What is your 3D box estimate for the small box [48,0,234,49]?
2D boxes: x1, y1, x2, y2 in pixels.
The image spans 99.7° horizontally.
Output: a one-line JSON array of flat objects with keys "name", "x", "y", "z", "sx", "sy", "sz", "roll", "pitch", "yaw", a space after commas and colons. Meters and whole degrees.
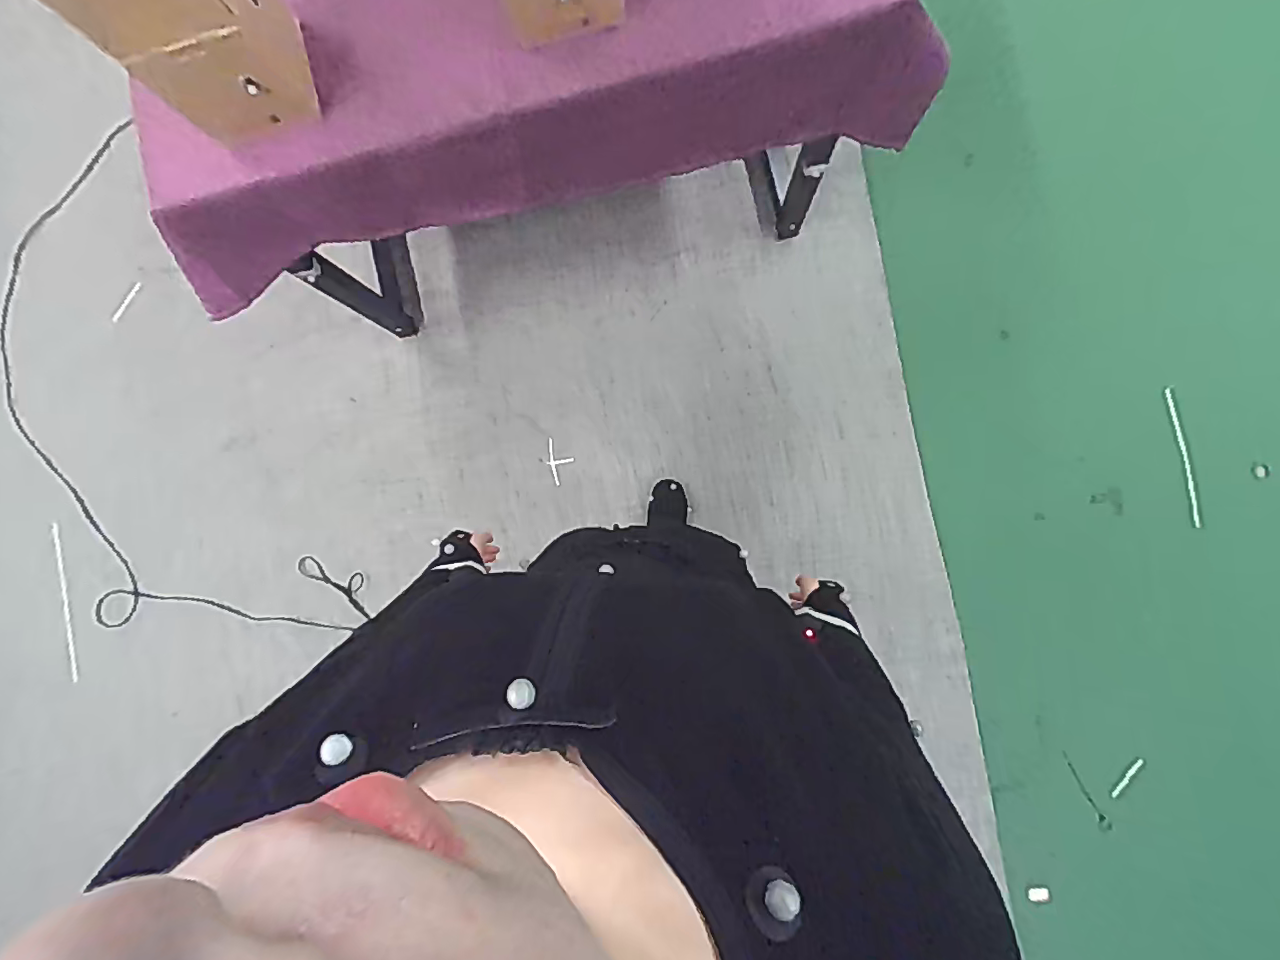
[{"name": "small box", "x": -0.610, "y": -0.635, "z": 0.601, "sx": 0.179, "sy": 0.176, "sz": 0.168, "roll": -16, "pitch": 87, "yaw": 1}]

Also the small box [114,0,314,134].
[{"name": "small box", "x": -0.597, "y": -0.628, "z": 0.763, "sx": 0.168, "sy": 0.176, "sz": 0.179, "roll": -14, "pitch": 86, "yaw": 2}]

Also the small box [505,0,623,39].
[{"name": "small box", "x": -0.124, "y": -0.755, "z": 0.741, "sx": 0.168, "sy": 0.176, "sz": 0.179, "roll": -13, "pitch": 87, "yaw": 3}]
